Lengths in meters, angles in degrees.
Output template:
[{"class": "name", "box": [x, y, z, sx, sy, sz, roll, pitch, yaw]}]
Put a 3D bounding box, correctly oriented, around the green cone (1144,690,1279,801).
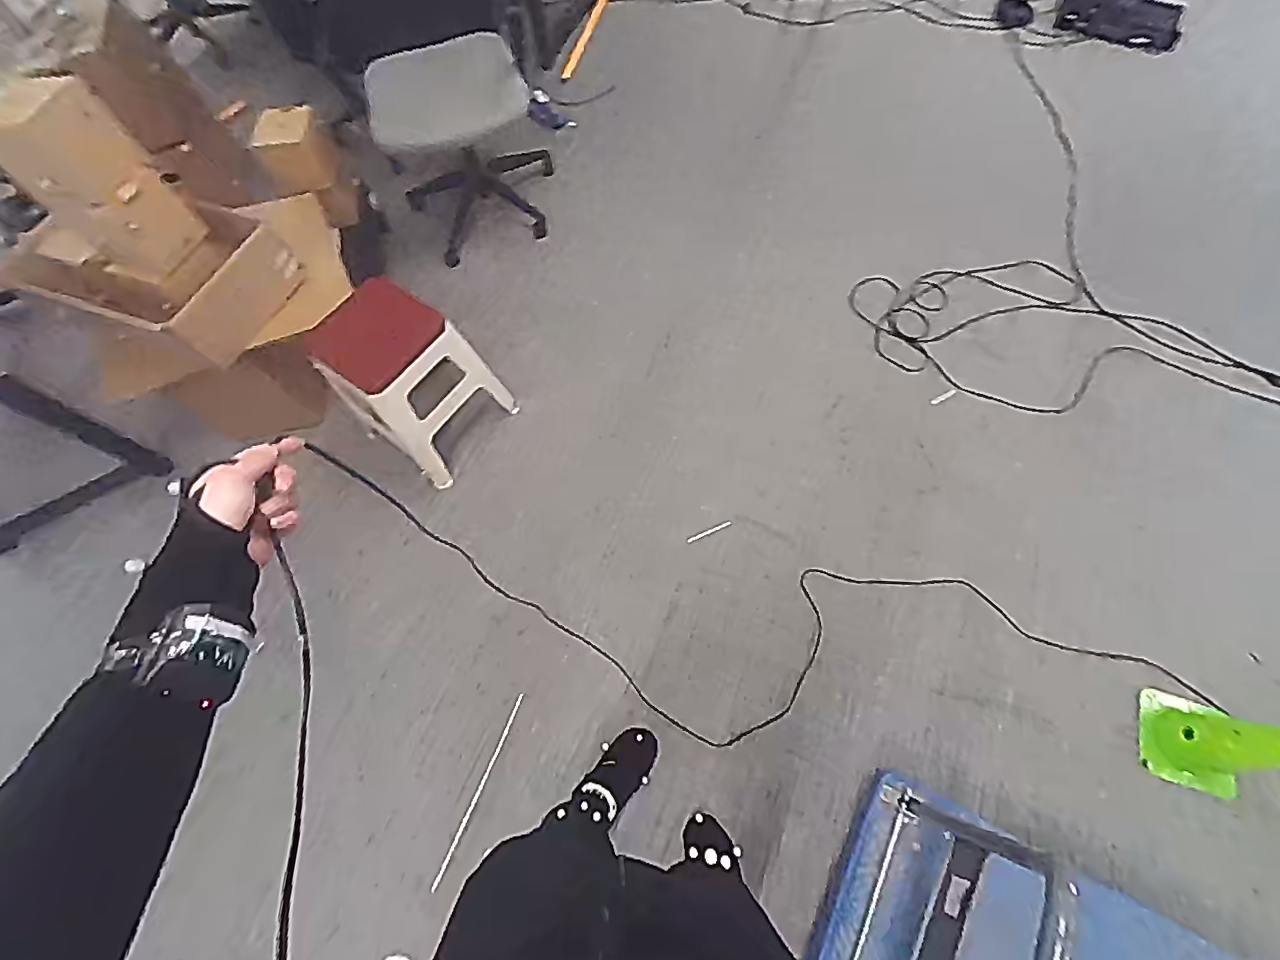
[{"class": "green cone", "box": [1.308, 0.555, 1.134, 0.200, 0.368, 0.202, 16, 67, 11]}]
